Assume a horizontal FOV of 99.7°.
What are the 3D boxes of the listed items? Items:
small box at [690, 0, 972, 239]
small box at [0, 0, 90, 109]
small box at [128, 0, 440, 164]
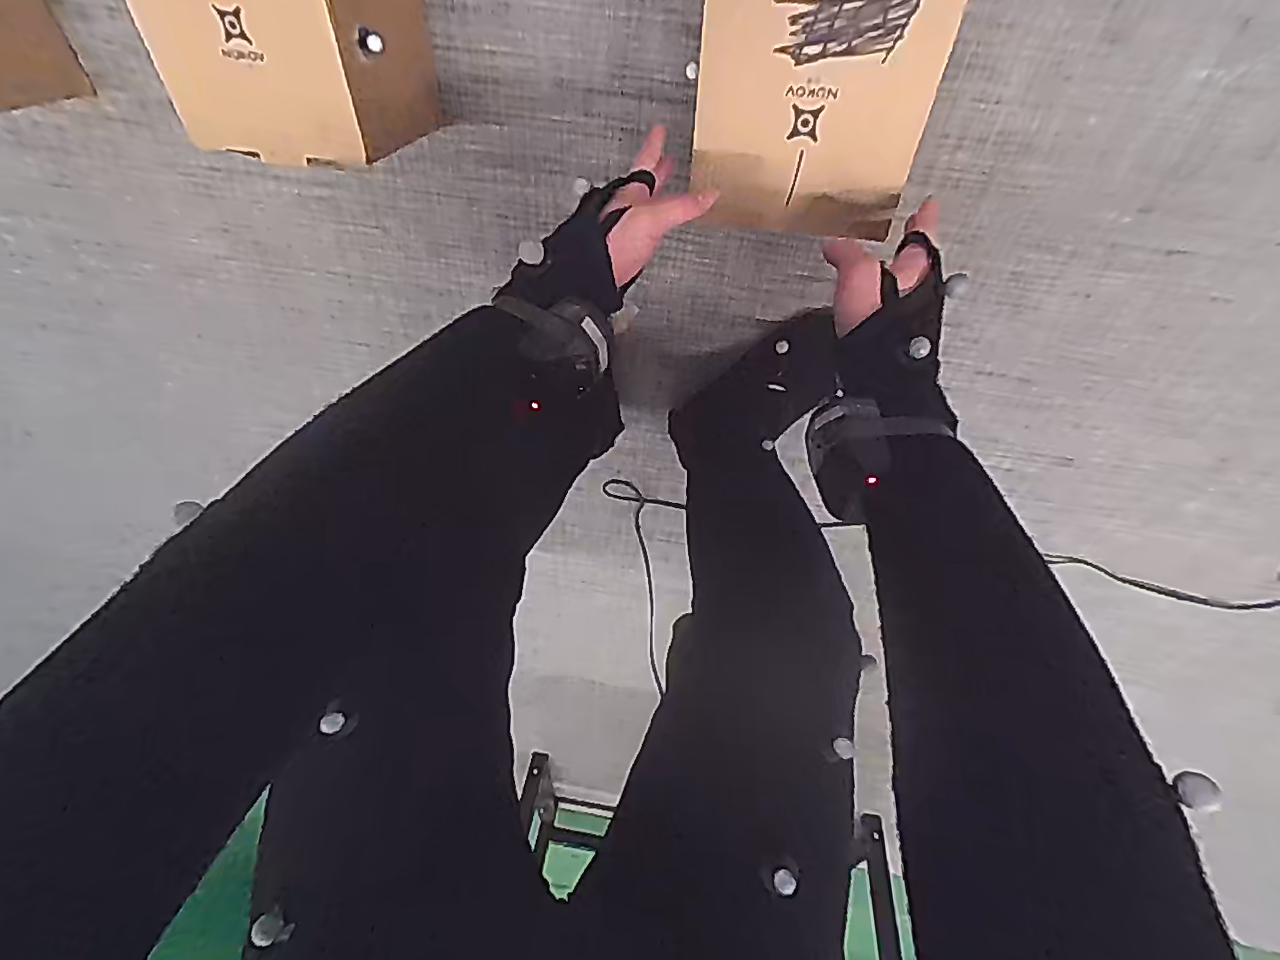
[{"bbox_3d":[0.137,-0.322,0.439,0.168,0.176,0.179,8,136,6],"label":"small box"},{"bbox_3d":[-0.706,-0.456,0.509,0.168,0.176,0.179,6,135,8],"label":"small box"},{"bbox_3d":[-0.296,-0.401,0.470,0.168,0.176,0.179,7,134,4],"label":"small box"}]
